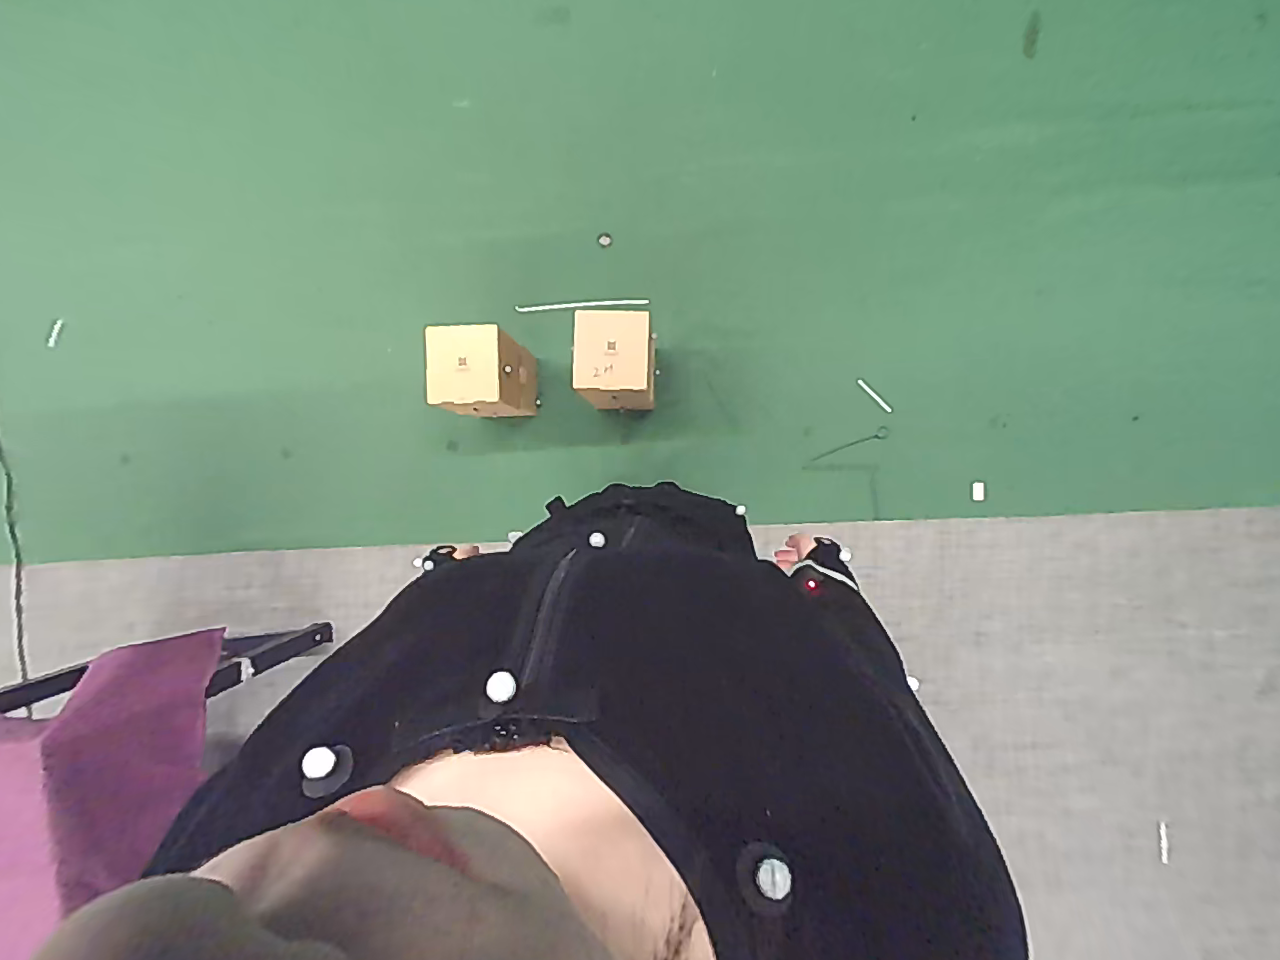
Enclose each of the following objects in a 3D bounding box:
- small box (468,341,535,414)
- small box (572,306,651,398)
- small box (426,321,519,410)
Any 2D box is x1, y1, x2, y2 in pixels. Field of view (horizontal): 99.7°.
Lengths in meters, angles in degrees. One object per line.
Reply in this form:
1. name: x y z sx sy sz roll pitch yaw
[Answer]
1. small box: -0.383 -0.270 1.448 0.179 0.176 0.168 -1 90 5
2. small box: -0.061 -0.293 1.262 0.168 0.176 0.179 2 91 4
3. small box: -0.392 -0.266 1.285 0.168 0.176 0.179 -1 91 4
